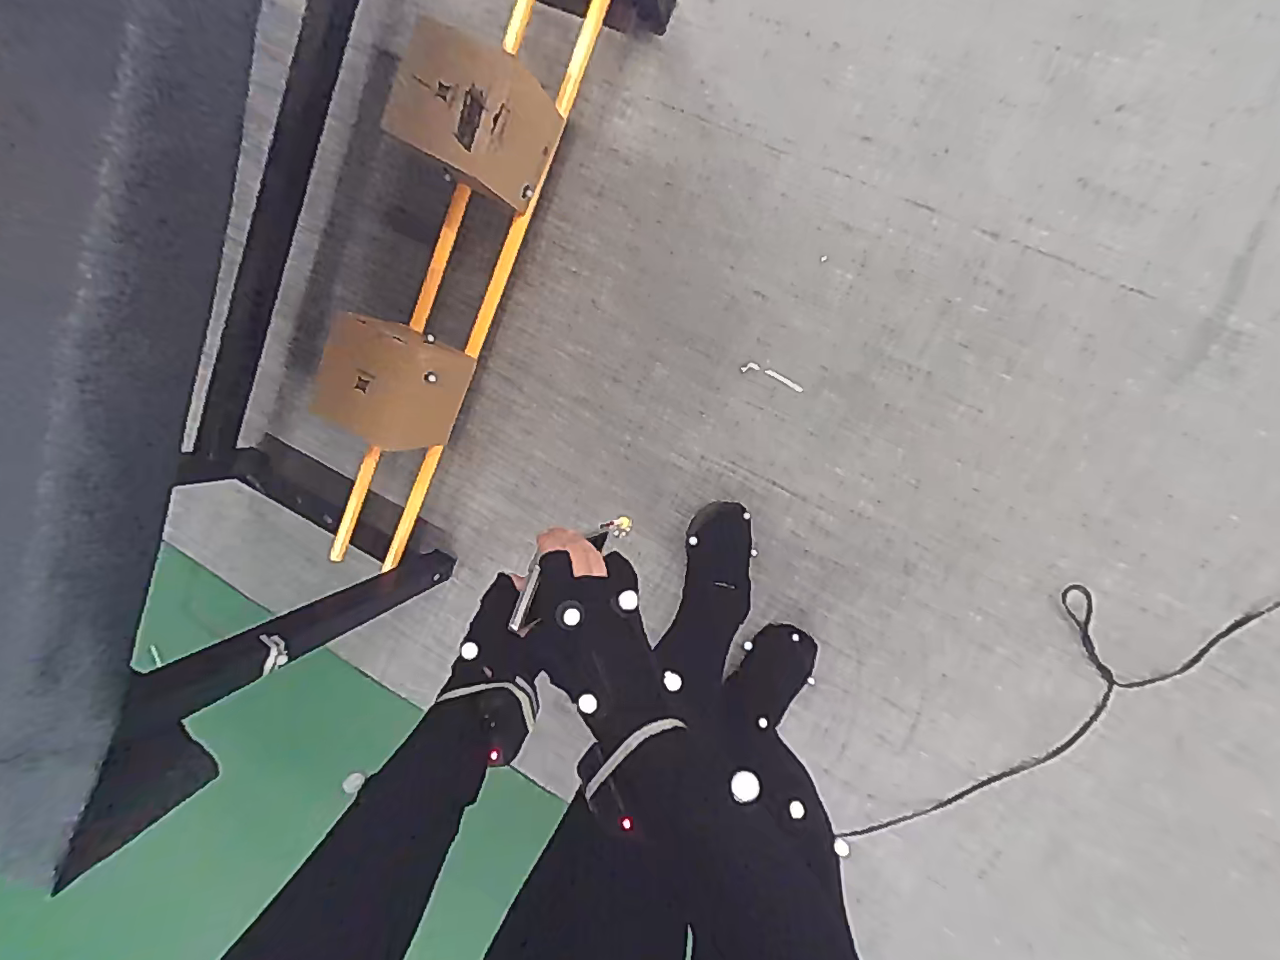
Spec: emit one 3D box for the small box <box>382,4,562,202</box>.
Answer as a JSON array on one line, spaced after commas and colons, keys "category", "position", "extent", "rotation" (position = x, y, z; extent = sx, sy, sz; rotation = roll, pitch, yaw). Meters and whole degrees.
[{"category": "small box", "position": [-0.246, -0.559, 0.832], "extent": [0.179, 0.176, 0.168], "rotation": [31, 103, 8]}]
